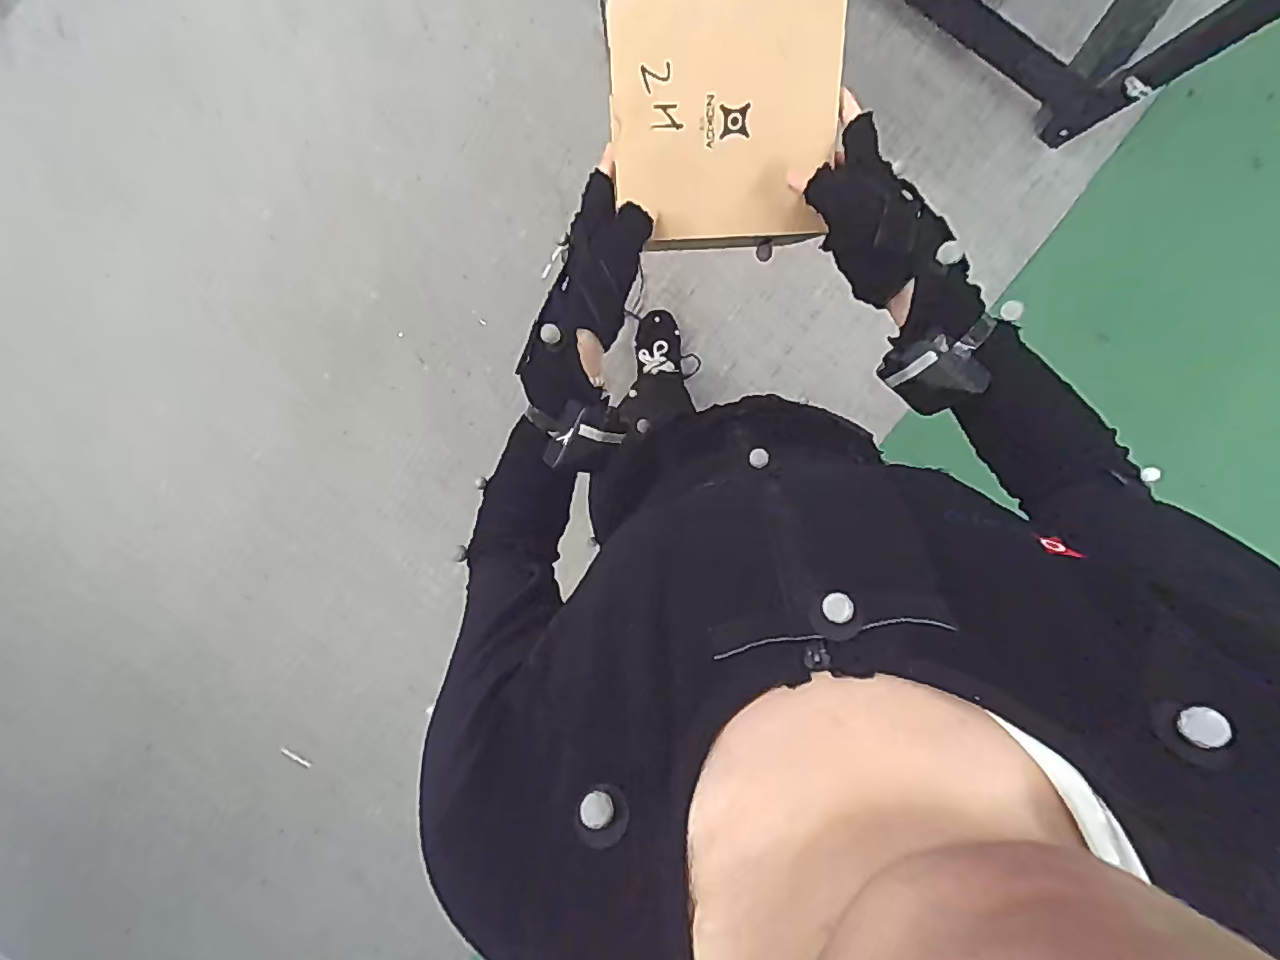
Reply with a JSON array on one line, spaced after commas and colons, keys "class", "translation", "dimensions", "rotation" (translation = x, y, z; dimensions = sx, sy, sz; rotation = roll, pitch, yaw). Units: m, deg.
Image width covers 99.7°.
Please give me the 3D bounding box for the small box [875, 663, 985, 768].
[{"class": "small box", "translation": [0.798, 0.647, 1.506], "dimensions": [0.179, 0.176, 0.168], "rotation": [34, 101, -3]}]
